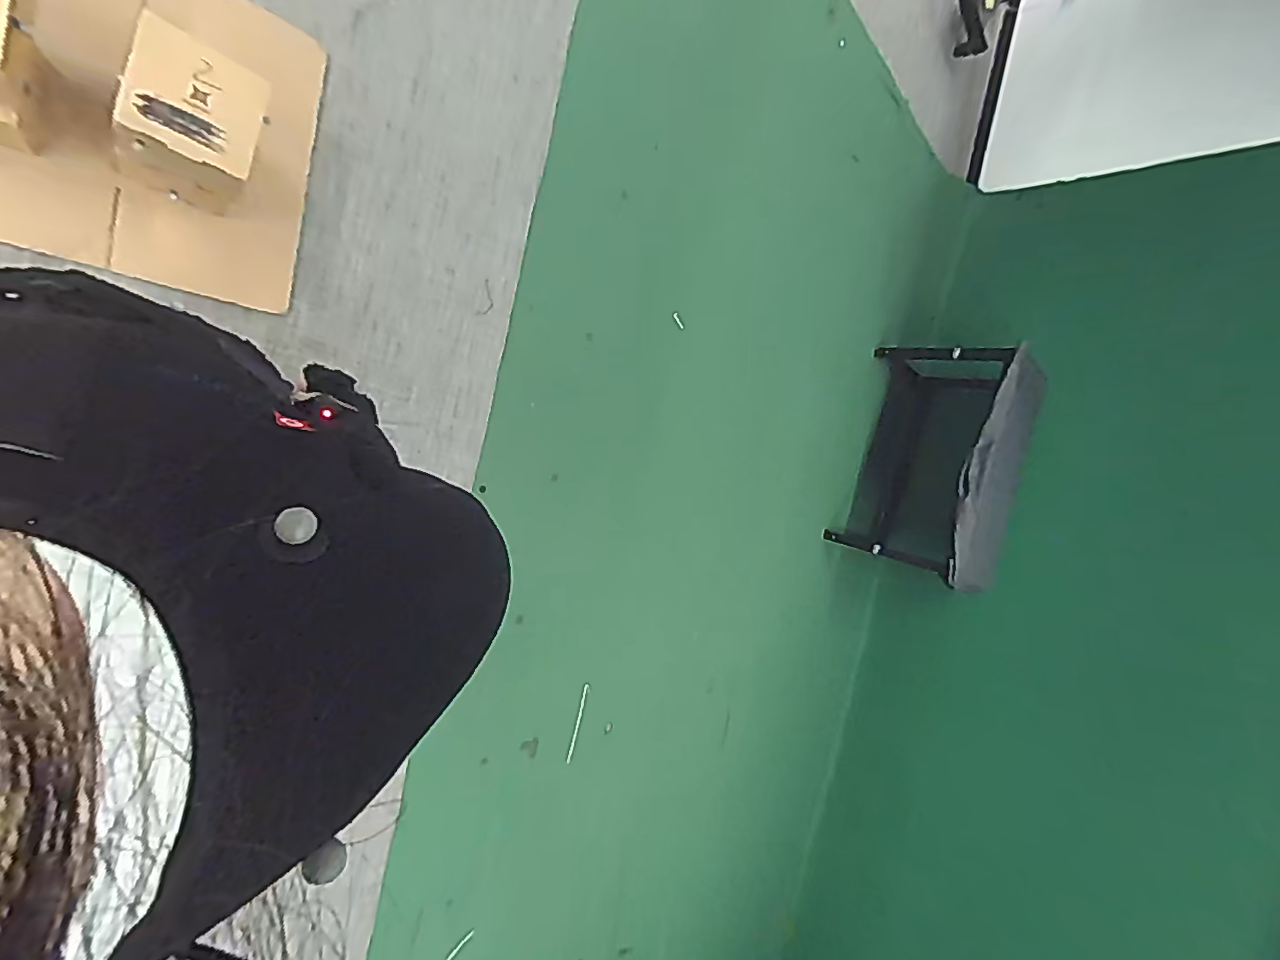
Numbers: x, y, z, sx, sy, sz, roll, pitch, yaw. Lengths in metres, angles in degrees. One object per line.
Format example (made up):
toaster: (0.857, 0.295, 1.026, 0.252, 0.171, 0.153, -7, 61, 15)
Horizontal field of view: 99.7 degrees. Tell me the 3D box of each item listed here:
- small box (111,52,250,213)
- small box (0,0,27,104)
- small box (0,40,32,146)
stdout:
small box: (-0.865, -0.638, 1.019, 0.168, 0.176, 0.179, 14, 91, -43)
small box: (-0.946, -0.648, 0.710, 0.168, 0.176, 0.179, 9, 94, -44)
small box: (-1.065, -0.649, 0.825, 0.168, 0.176, 0.179, 5, 97, -44)
